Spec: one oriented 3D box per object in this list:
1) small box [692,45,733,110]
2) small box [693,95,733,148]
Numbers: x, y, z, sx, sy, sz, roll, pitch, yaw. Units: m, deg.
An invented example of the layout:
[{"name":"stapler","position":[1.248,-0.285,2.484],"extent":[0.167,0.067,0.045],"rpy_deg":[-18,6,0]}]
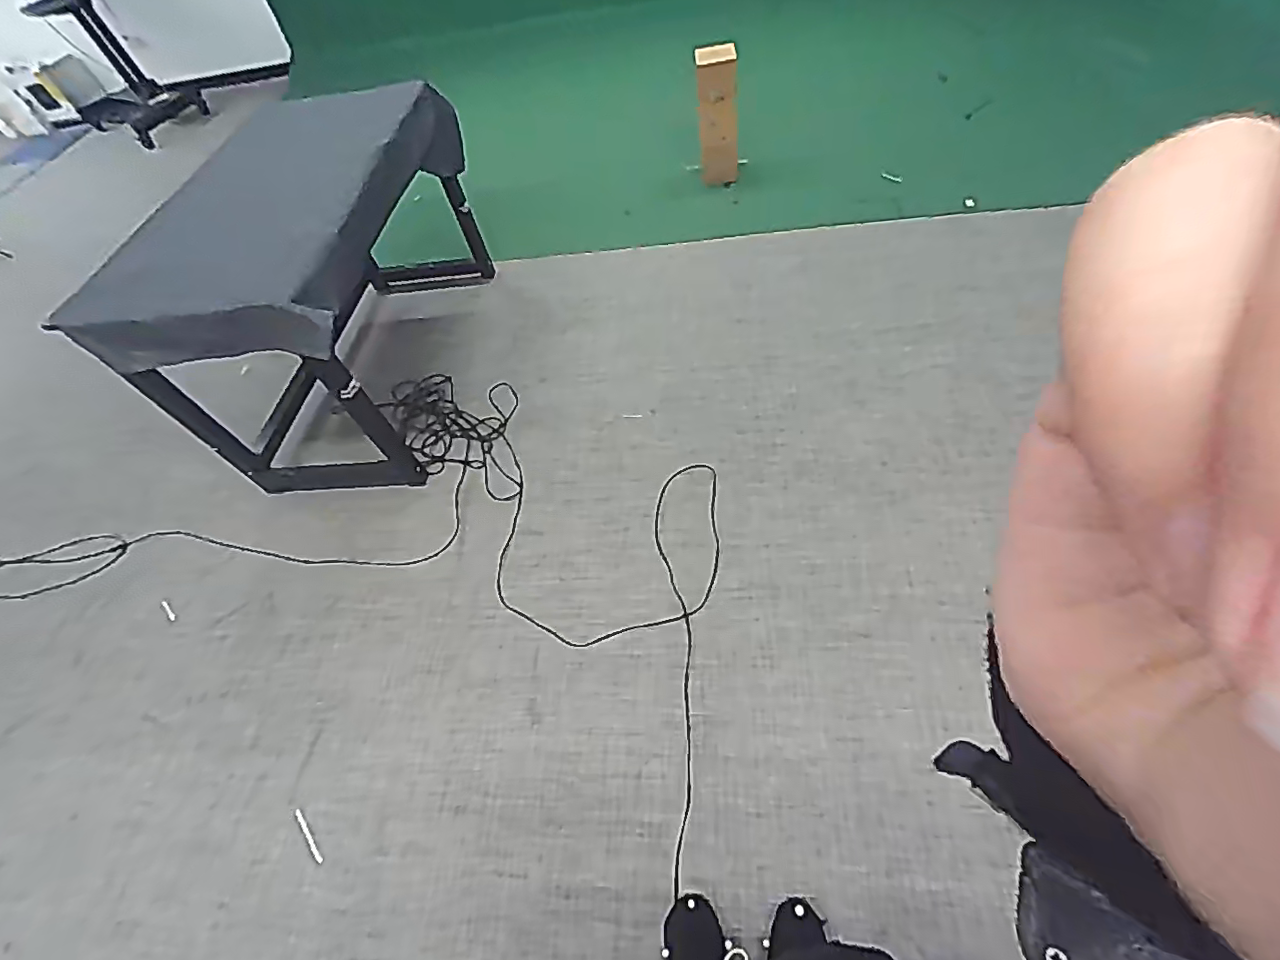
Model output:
[{"name":"small box","position":[0.311,-1.725,2.319],"extent":[0.168,0.176,0.179],"rpy_deg":[-5,55,7]},{"name":"small box","position":[0.331,-1.631,2.450],"extent":[0.168,0.176,0.179],"rpy_deg":[-5,54,6]}]
